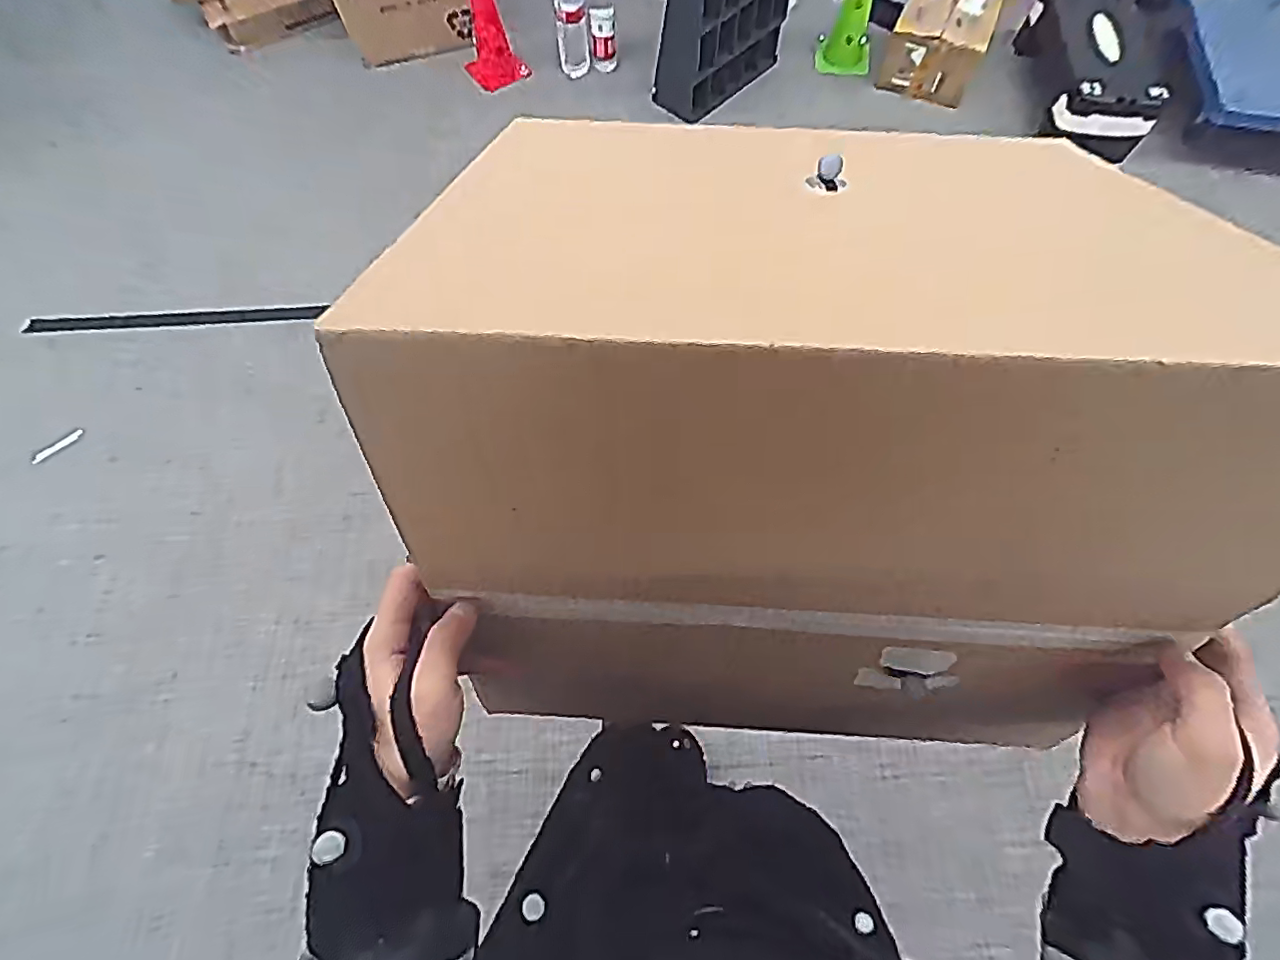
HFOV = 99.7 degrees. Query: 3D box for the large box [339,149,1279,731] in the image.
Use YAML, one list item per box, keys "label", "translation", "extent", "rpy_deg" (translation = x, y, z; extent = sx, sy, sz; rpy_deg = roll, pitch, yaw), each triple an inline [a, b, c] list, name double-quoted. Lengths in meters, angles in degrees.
- label: "large box"
  translation: [0.090, -0.036, 0.401]
  extent: [0.408, 0.320, 0.320]
  rpy_deg: [2, 45, 2]
